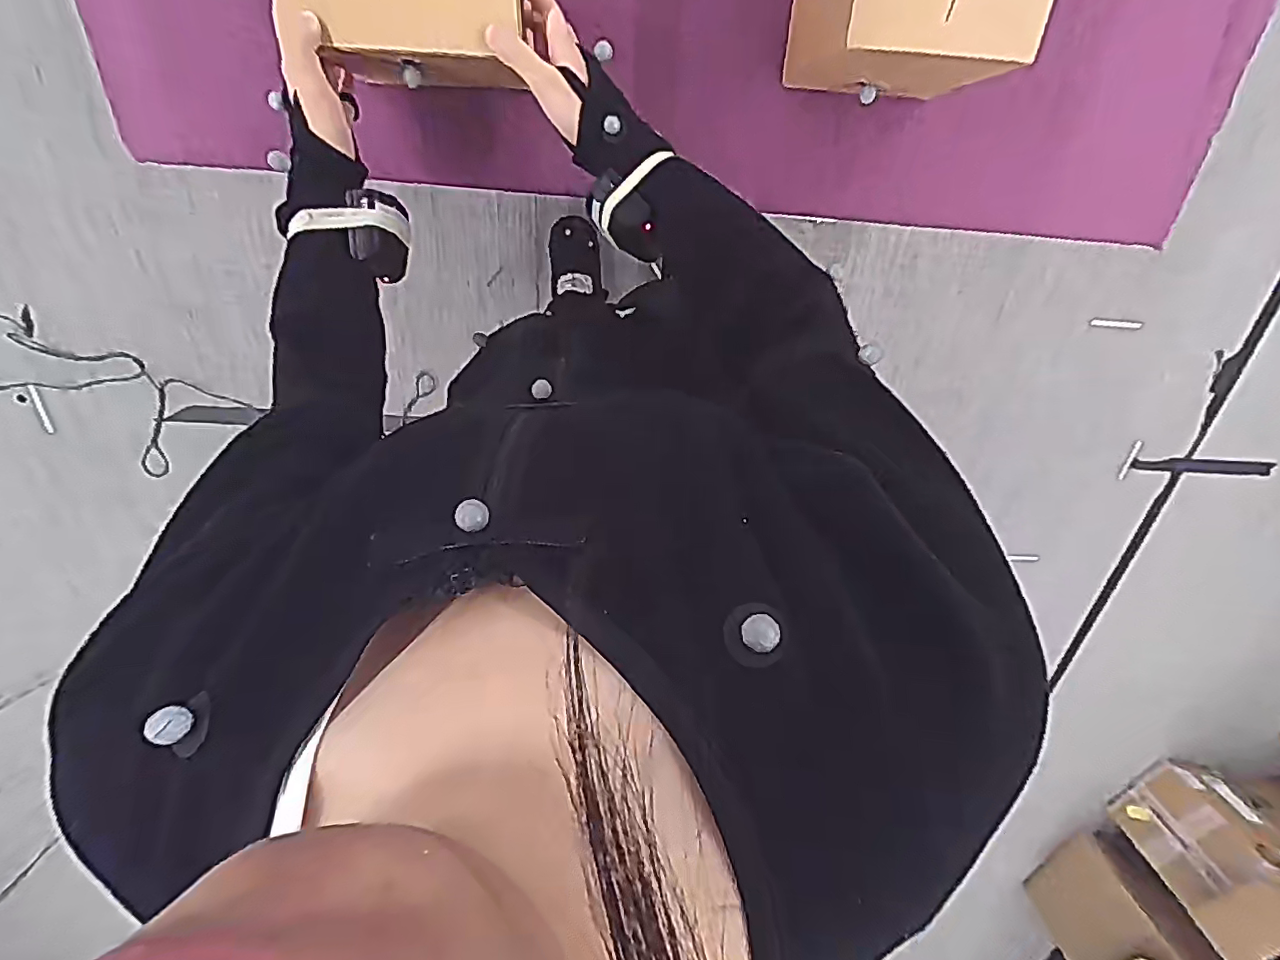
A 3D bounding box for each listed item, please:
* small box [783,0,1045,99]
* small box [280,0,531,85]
[{"bbox_3d":[0.240,-0.463,0.479,0.168,0.176,0.179,1,117,-5],"label":"small box"},{"bbox_3d":[-0.186,-0.444,0.451,0.179,0.176,0.168,0,119,-4],"label":"small box"}]
